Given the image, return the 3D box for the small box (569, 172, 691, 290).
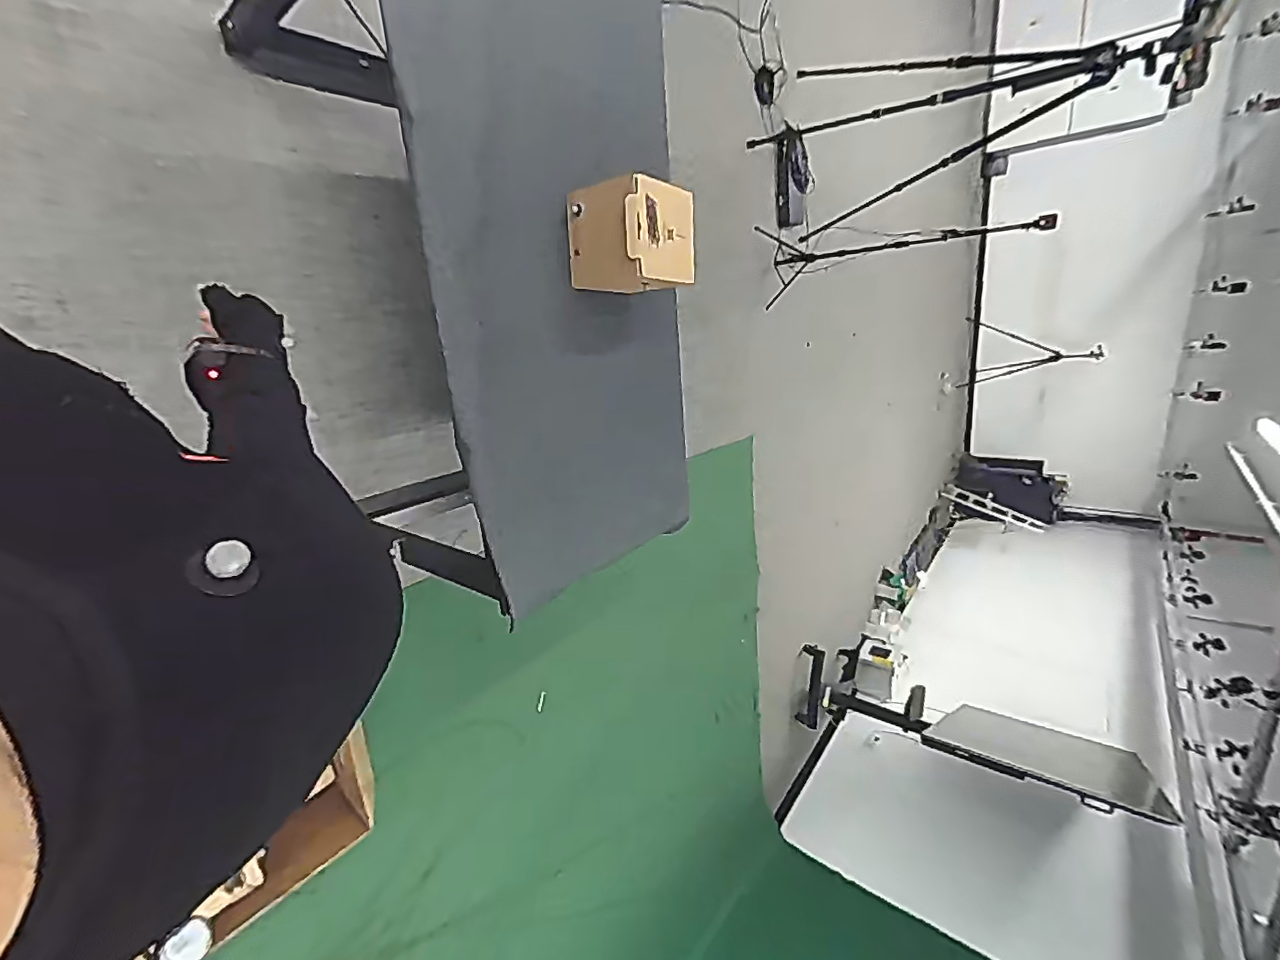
[{"bbox_3d":[-0.022,-0.457,1.022,0.179,0.176,0.168,-18,111,-49],"label":"small box"}]
